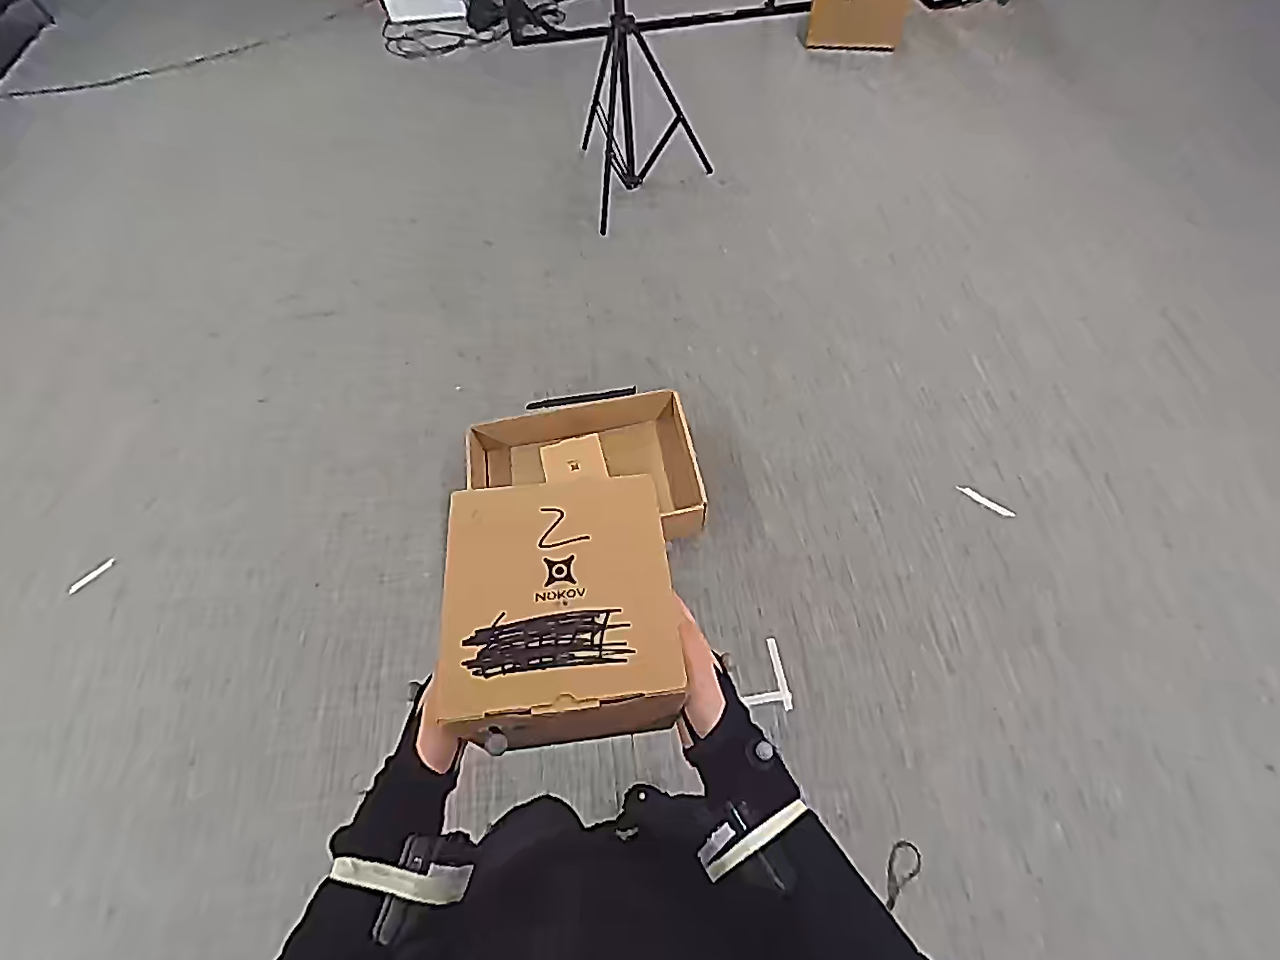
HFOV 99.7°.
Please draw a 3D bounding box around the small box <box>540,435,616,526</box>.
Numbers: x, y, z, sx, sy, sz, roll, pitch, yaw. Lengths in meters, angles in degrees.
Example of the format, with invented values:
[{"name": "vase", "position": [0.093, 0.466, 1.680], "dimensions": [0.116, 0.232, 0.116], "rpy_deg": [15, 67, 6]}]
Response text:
[{"name": "small box", "position": [-0.171, 0.005, 1.510], "dimensions": [0.168, 0.176, 0.179], "rpy_deg": [-16, 63, -4]}]
